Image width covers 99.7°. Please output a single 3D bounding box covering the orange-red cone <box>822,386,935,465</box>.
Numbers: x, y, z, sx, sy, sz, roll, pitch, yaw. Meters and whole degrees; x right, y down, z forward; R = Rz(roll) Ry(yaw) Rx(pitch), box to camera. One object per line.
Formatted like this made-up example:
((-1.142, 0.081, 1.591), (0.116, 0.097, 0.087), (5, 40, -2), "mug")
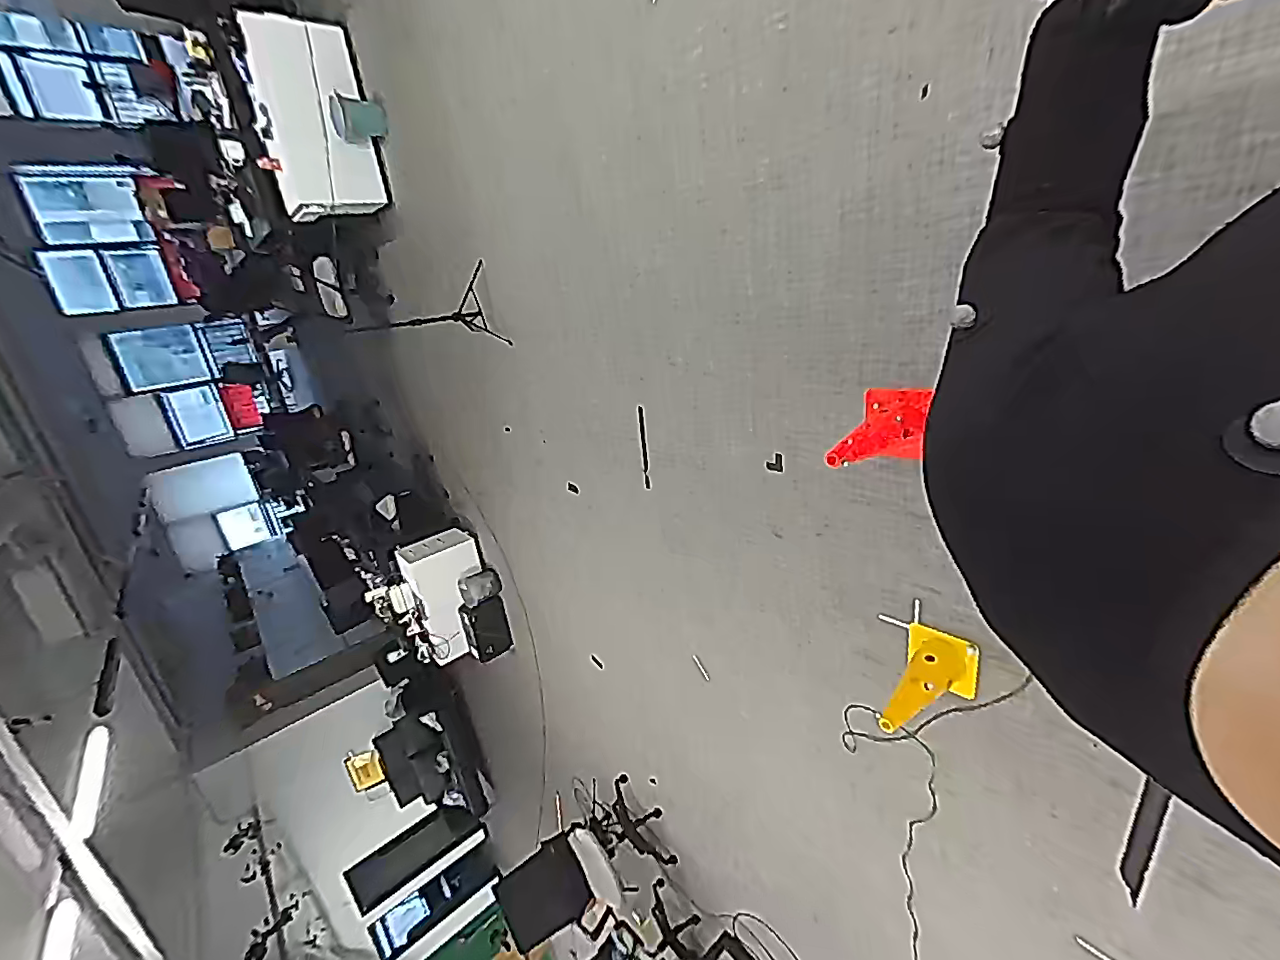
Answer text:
((0.600, -0.109, 1.431), (0.198, 0.360, 0.199), (15, 121, 50), "orange-red cone")
